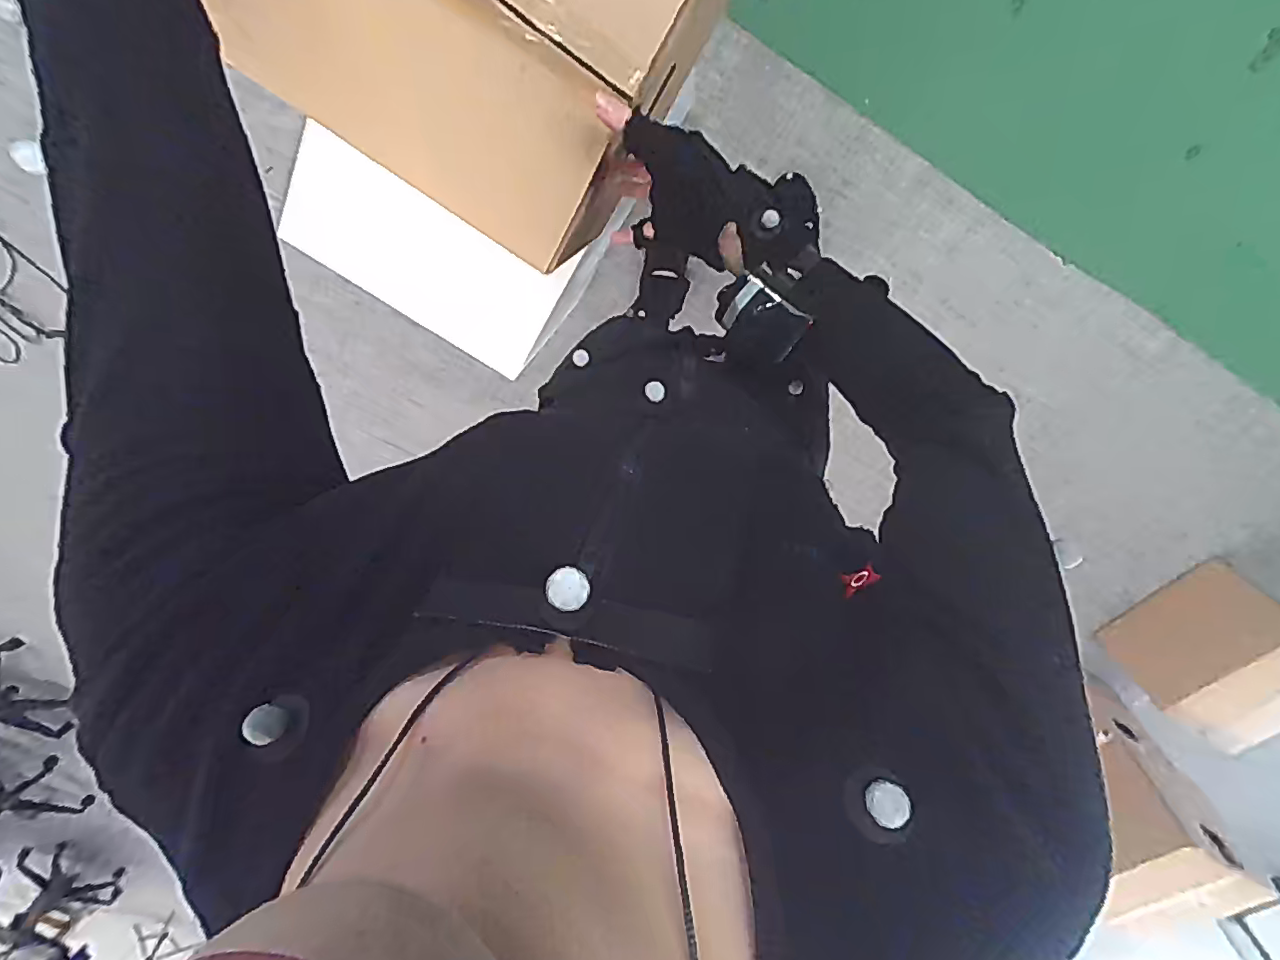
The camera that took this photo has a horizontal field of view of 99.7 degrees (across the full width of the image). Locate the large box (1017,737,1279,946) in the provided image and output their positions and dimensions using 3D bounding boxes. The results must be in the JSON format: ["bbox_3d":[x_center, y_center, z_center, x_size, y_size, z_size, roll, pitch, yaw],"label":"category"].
[{"bbox_3d":[1.424,1.037,1.561,0.320,0.320,0.408,30,118,-6],"label":"large box"}]
